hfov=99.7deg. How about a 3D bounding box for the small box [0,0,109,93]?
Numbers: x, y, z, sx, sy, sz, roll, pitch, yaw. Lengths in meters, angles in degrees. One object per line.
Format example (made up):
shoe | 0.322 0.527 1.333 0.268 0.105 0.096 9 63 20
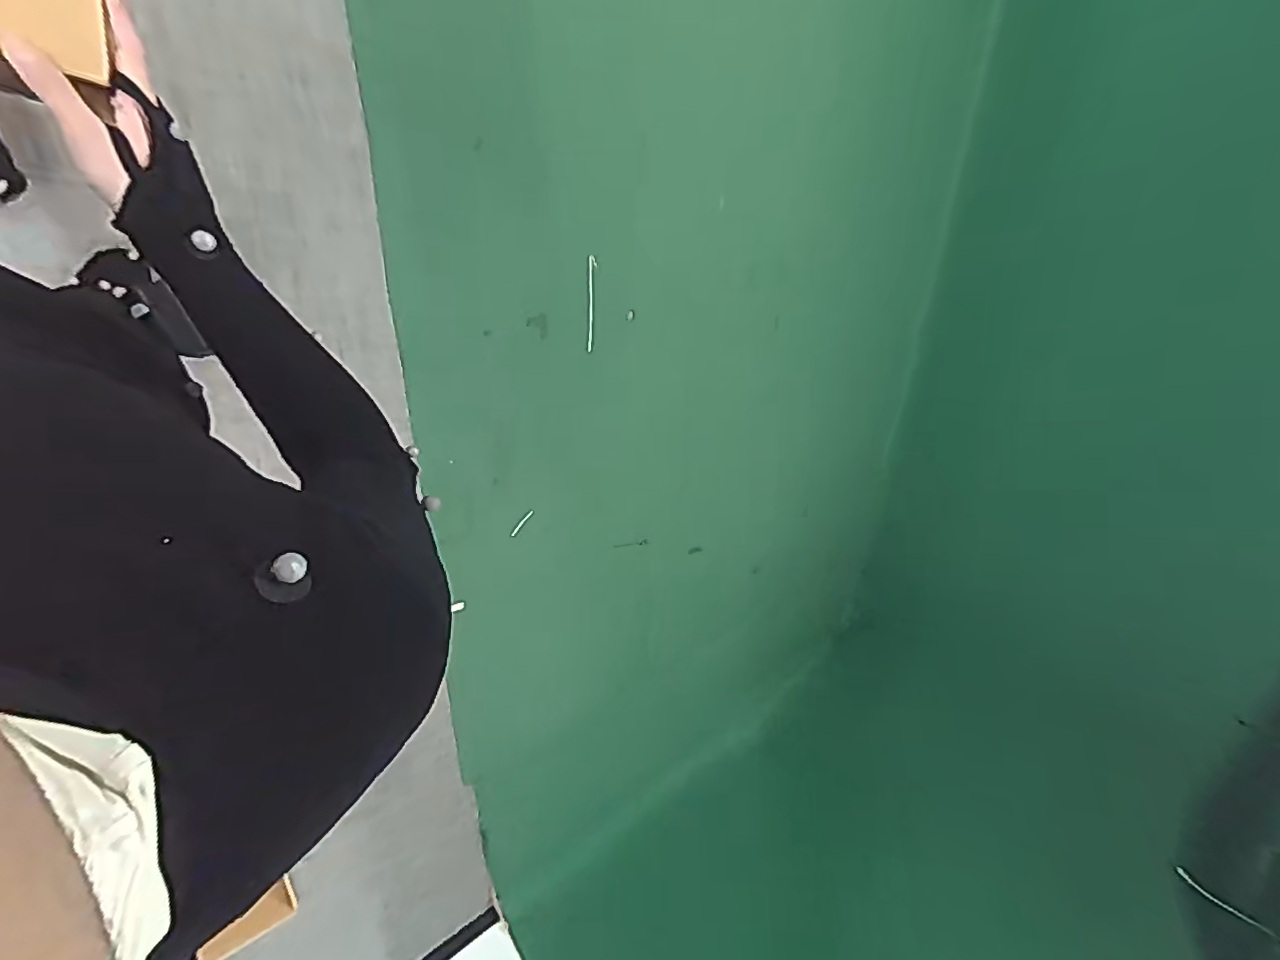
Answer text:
small box | -0.485 -0.401 0.365 0.168 0.176 0.179 -6 114 -43
